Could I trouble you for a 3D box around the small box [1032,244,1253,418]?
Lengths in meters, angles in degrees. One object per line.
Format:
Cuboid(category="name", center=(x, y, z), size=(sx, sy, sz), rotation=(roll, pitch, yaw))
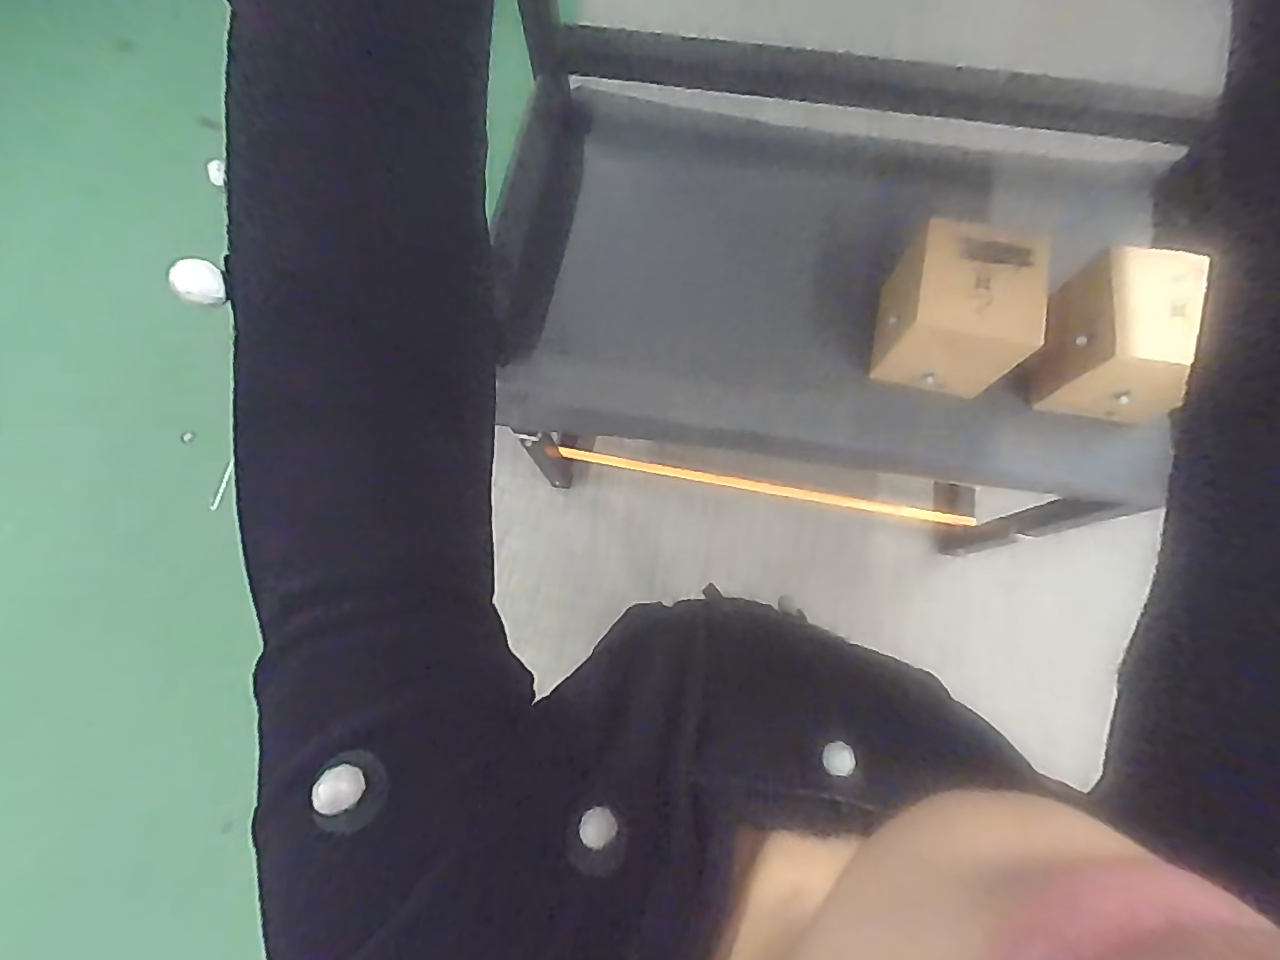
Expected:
Cuboid(category="small box", center=(0.707, -0.206, 0.785), size=(0.168, 0.176, 0.179), rotation=(9, 73, 4))
